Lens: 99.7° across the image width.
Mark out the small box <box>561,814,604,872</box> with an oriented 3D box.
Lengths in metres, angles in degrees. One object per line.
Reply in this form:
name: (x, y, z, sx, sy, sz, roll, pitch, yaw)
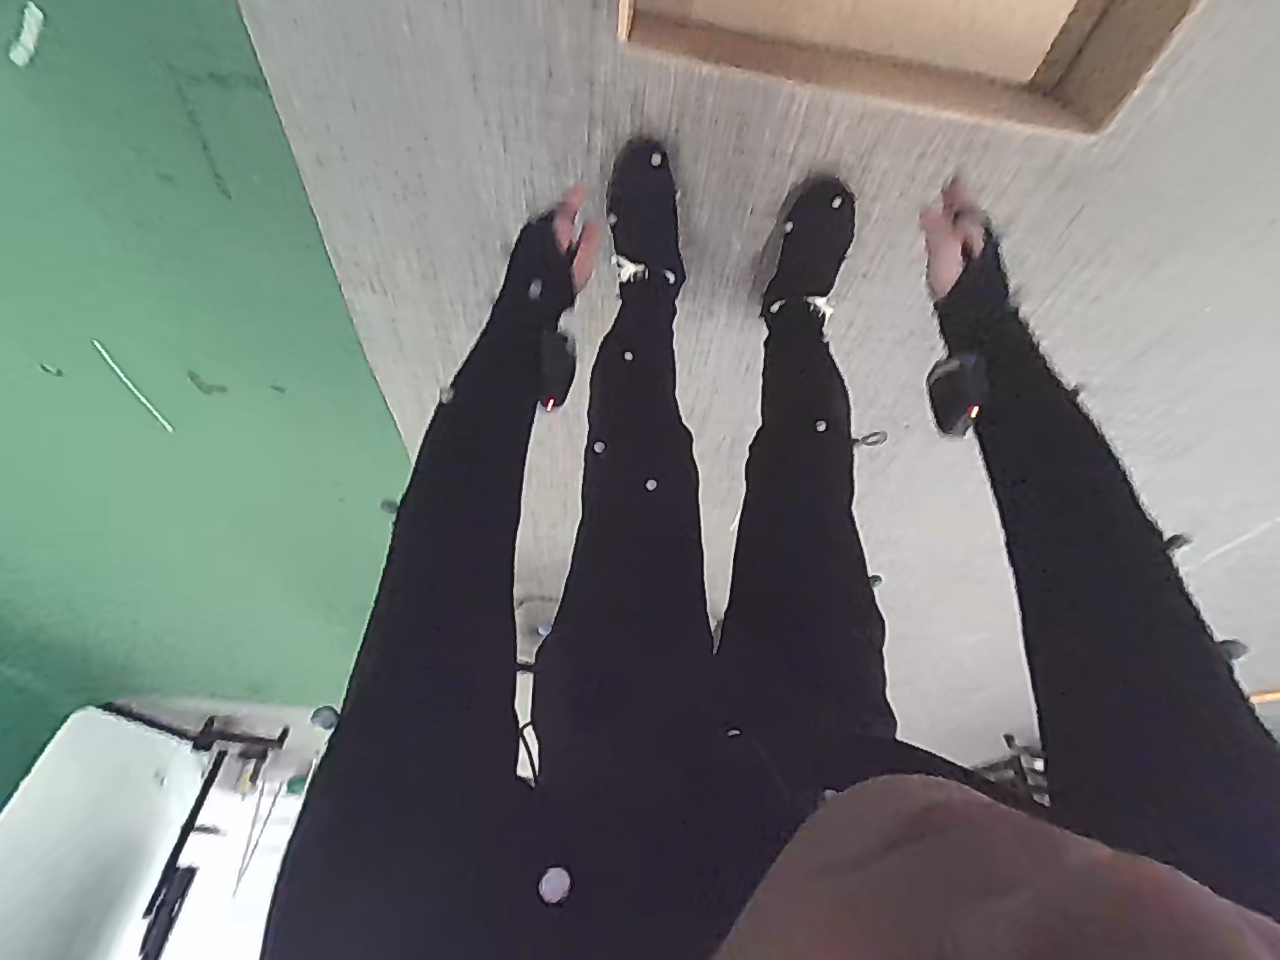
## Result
small box: (-0.214, 1.416, 2.106, 0.168, 0.176, 0.179, 6, 141, -2)
